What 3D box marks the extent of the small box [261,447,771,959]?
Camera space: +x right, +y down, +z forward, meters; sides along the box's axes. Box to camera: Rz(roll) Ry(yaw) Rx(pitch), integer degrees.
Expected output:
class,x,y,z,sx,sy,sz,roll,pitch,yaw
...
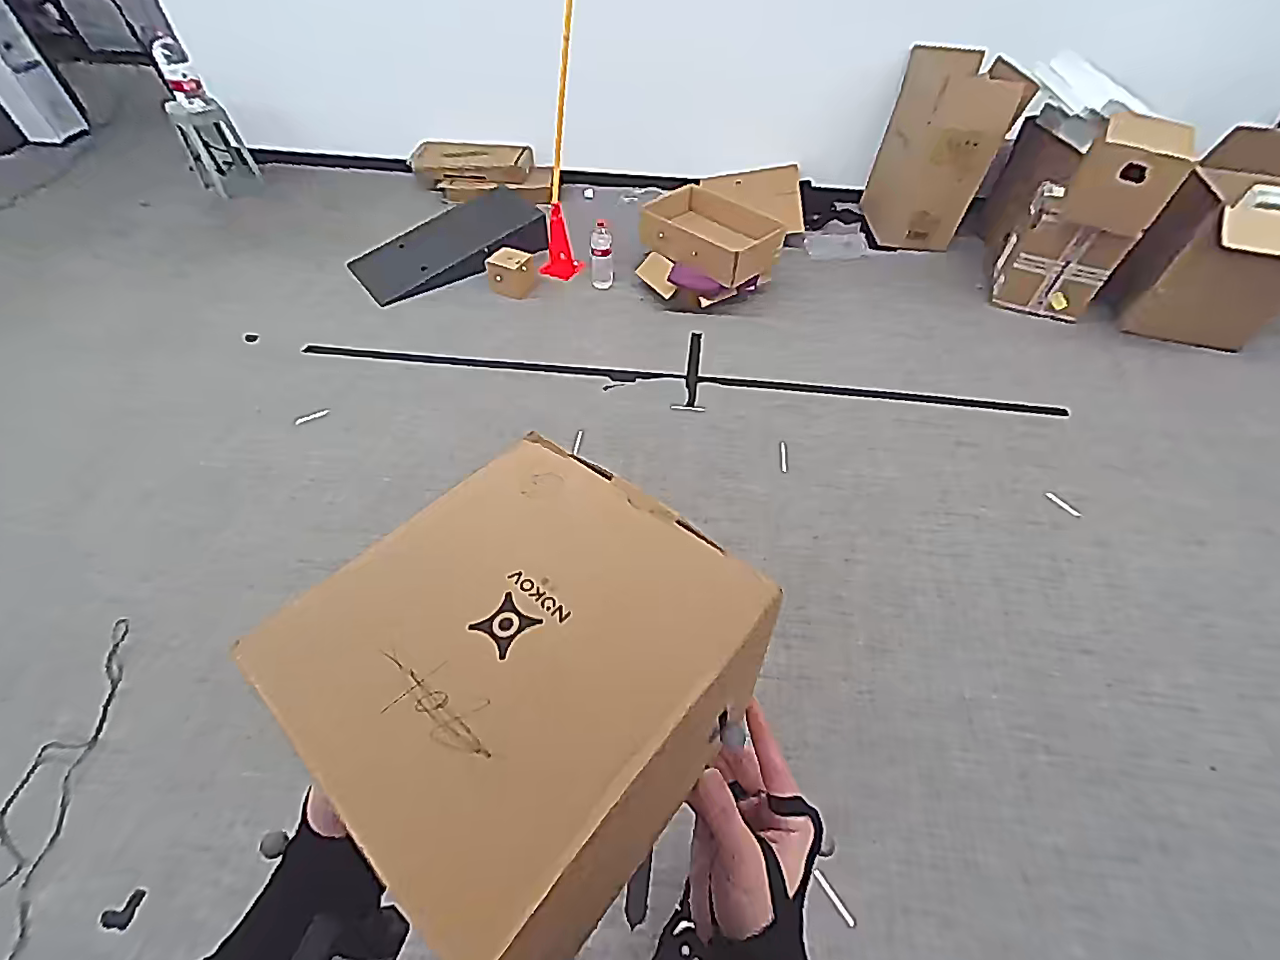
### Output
class,x,y,z,sx,sy,sz,roll,pitch,yaw
small box,-0.051,0.119,0.305,0.168,0.176,0.179,30,55,27
